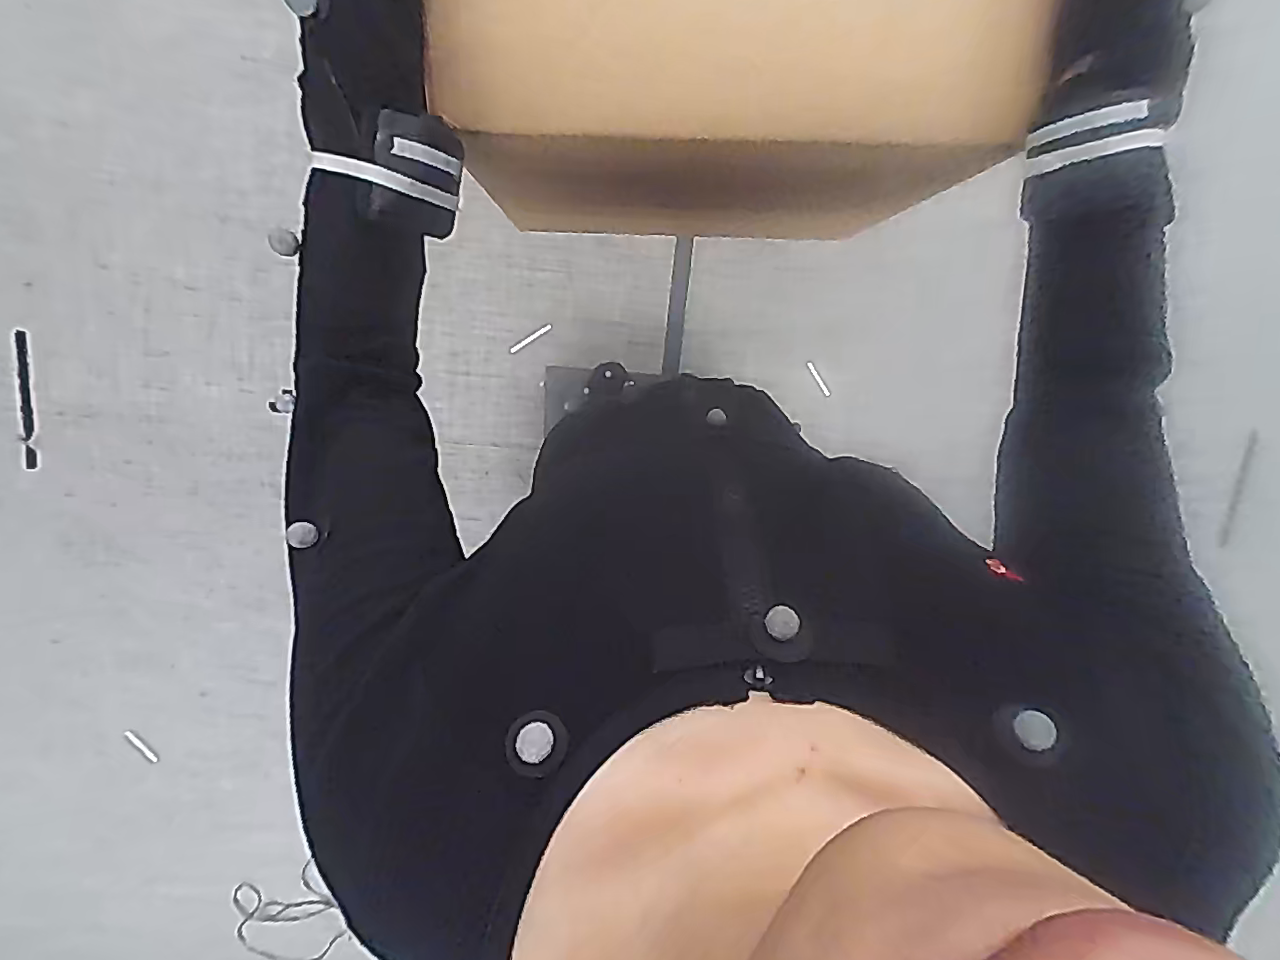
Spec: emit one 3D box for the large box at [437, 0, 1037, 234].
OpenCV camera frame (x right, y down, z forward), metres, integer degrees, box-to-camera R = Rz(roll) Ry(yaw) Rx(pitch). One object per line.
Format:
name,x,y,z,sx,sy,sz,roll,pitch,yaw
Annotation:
large box,0.059,-0.418,0.482,0.408,0.320,0.320,0,104,-2
